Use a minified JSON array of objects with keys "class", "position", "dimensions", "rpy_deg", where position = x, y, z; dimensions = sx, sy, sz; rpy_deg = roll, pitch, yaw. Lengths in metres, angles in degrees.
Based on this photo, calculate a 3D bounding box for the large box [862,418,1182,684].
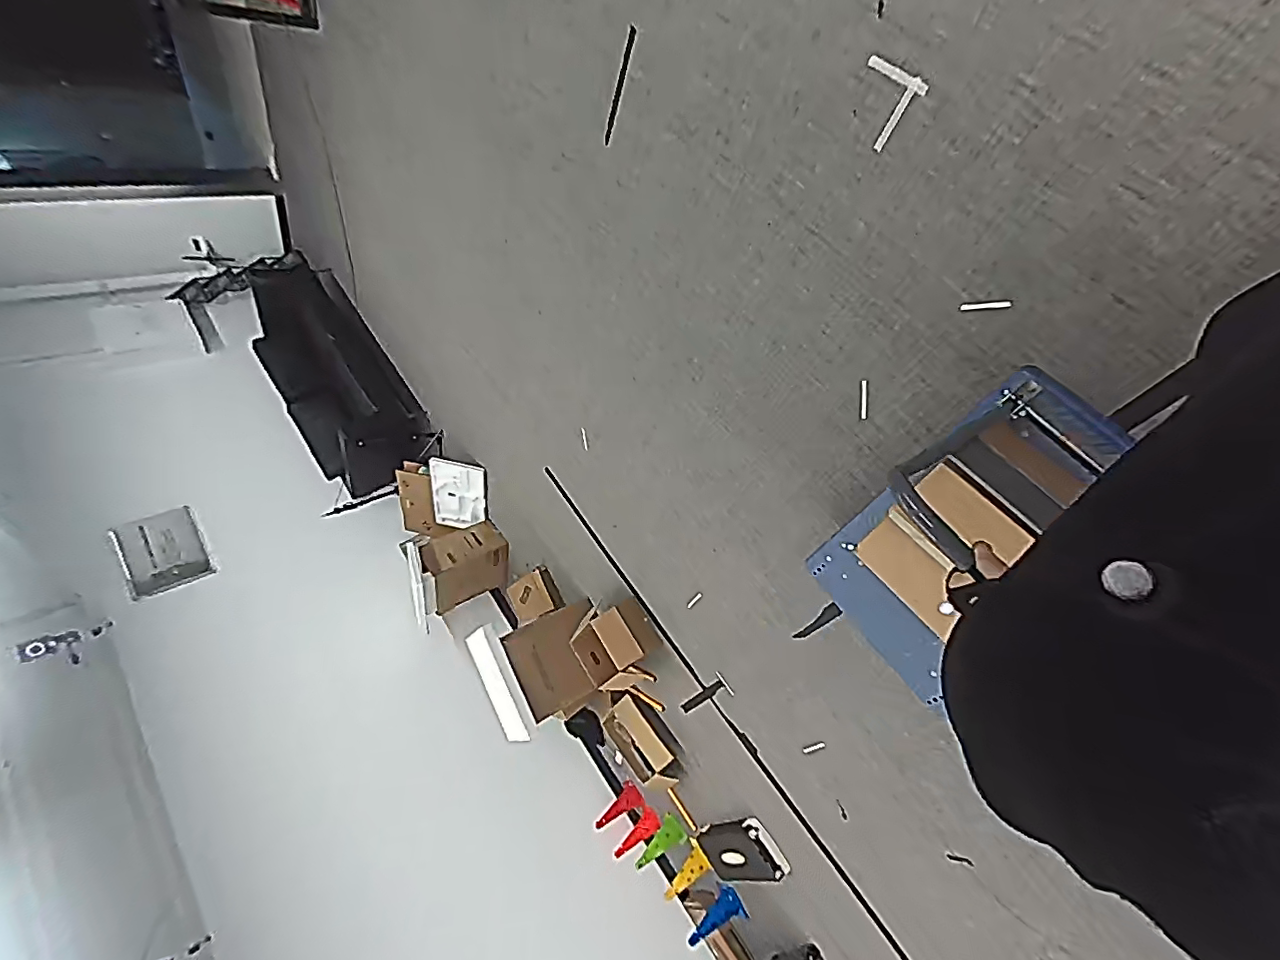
[{"class":"large box","position":[0.783,0.136,1.146],"dimensions":[0.408,0.320,0.320],"rpy_deg":[50,141,24]}]
